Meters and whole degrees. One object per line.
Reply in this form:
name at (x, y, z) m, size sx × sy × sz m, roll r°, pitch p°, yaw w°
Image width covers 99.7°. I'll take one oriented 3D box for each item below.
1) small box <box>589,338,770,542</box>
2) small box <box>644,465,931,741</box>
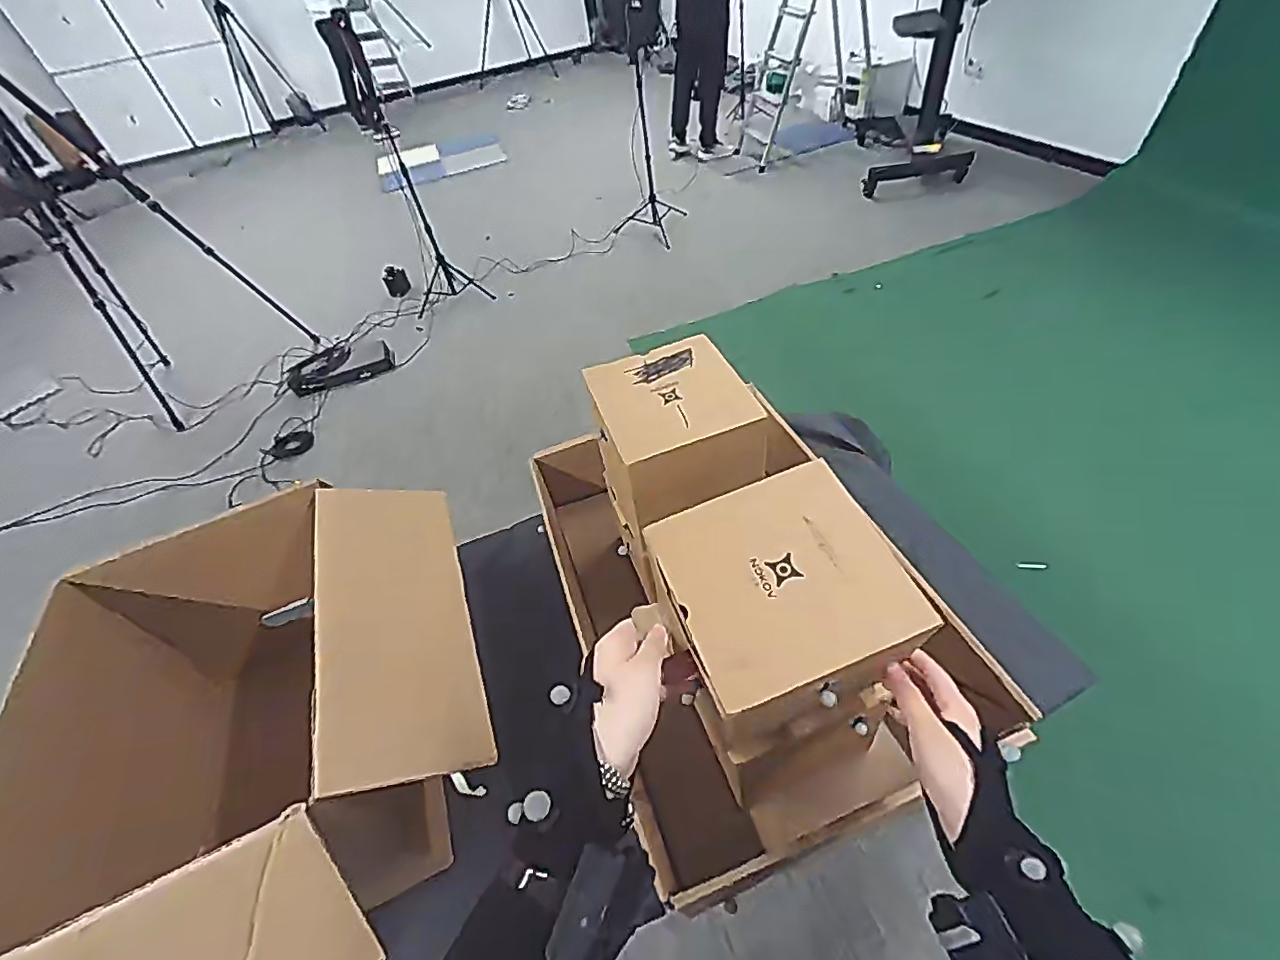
small box at (0.045, -0.045, 0.682) m, size 0.168 × 0.176 × 0.179 m, roll -18°, pitch 50°, yaw -7°
small box at (0.120, 0.120, 0.500) m, size 0.179 × 0.176 × 0.168 m, roll -21°, pitch 57°, yaw -6°
